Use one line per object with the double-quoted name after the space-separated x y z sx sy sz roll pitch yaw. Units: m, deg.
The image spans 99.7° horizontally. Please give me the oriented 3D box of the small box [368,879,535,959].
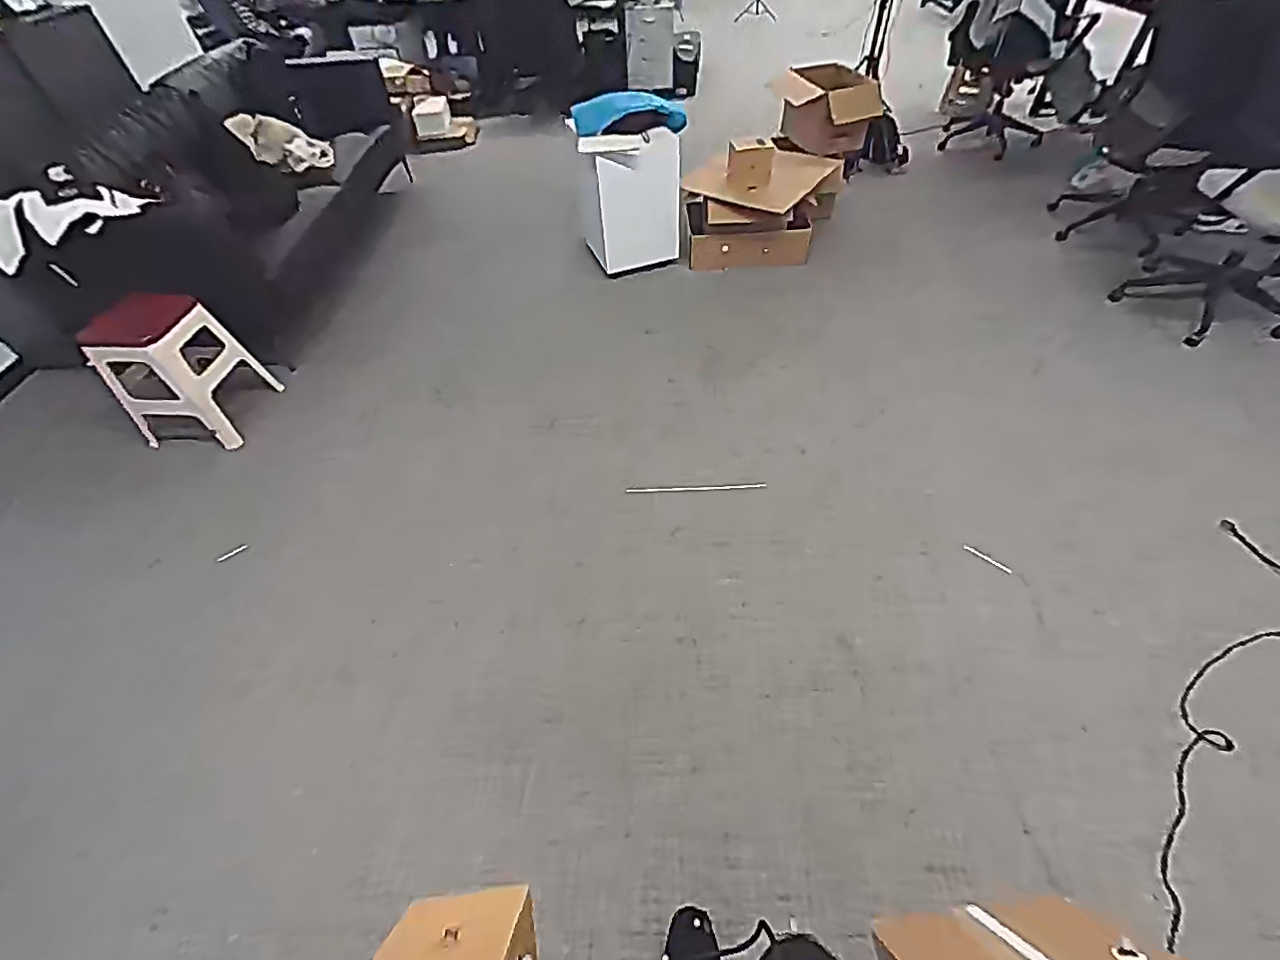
-0.225 0.634 0.658 0.168 0.179 0.176 -7 83 -1 "small box"
